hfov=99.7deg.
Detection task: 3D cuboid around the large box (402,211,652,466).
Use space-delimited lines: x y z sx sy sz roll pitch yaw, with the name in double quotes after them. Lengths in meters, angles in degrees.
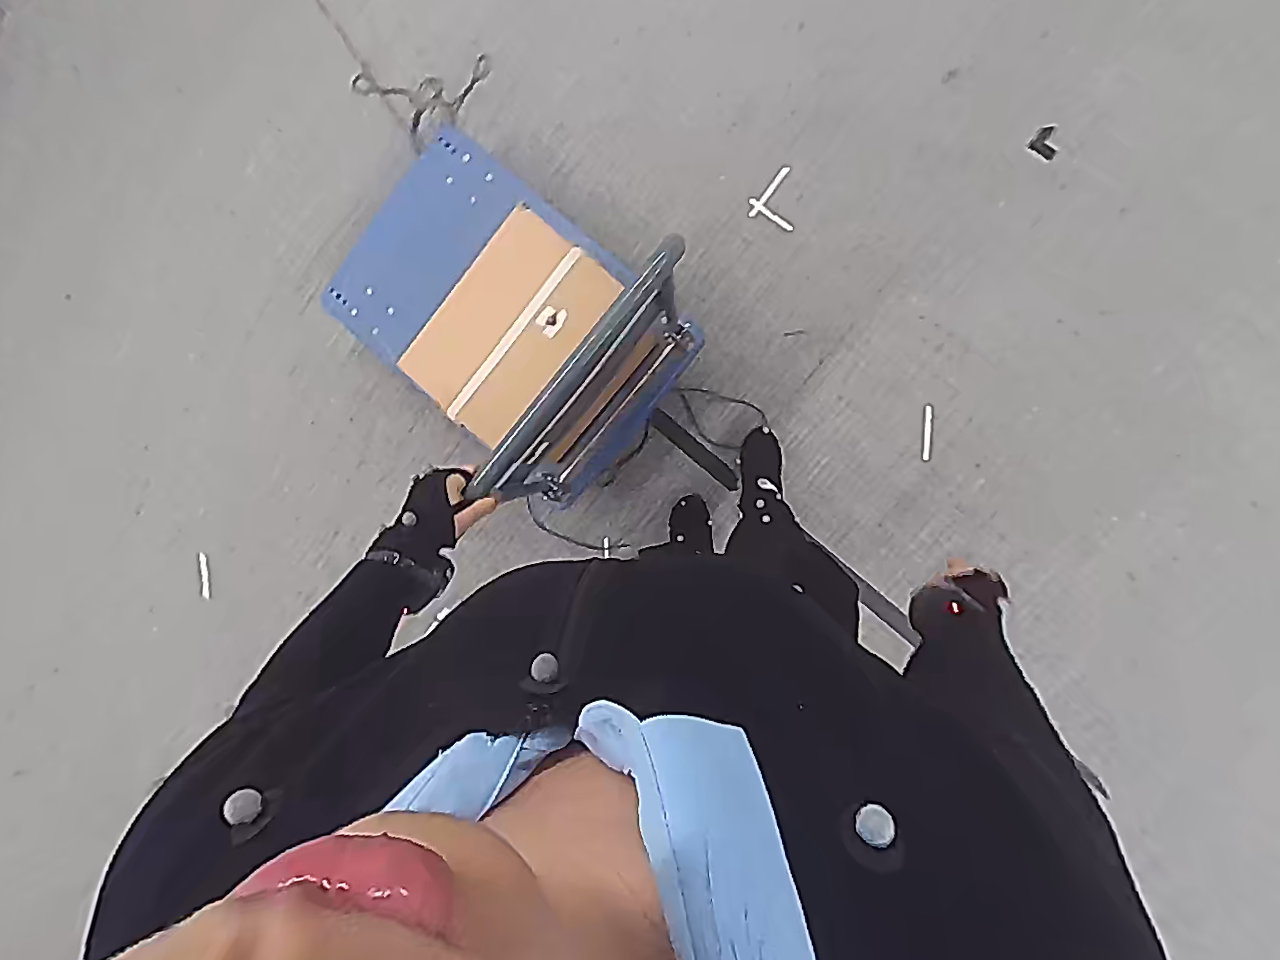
-0.226 -0.278 1.204 0.320 0.320 0.408 41 95 5 "large box"
